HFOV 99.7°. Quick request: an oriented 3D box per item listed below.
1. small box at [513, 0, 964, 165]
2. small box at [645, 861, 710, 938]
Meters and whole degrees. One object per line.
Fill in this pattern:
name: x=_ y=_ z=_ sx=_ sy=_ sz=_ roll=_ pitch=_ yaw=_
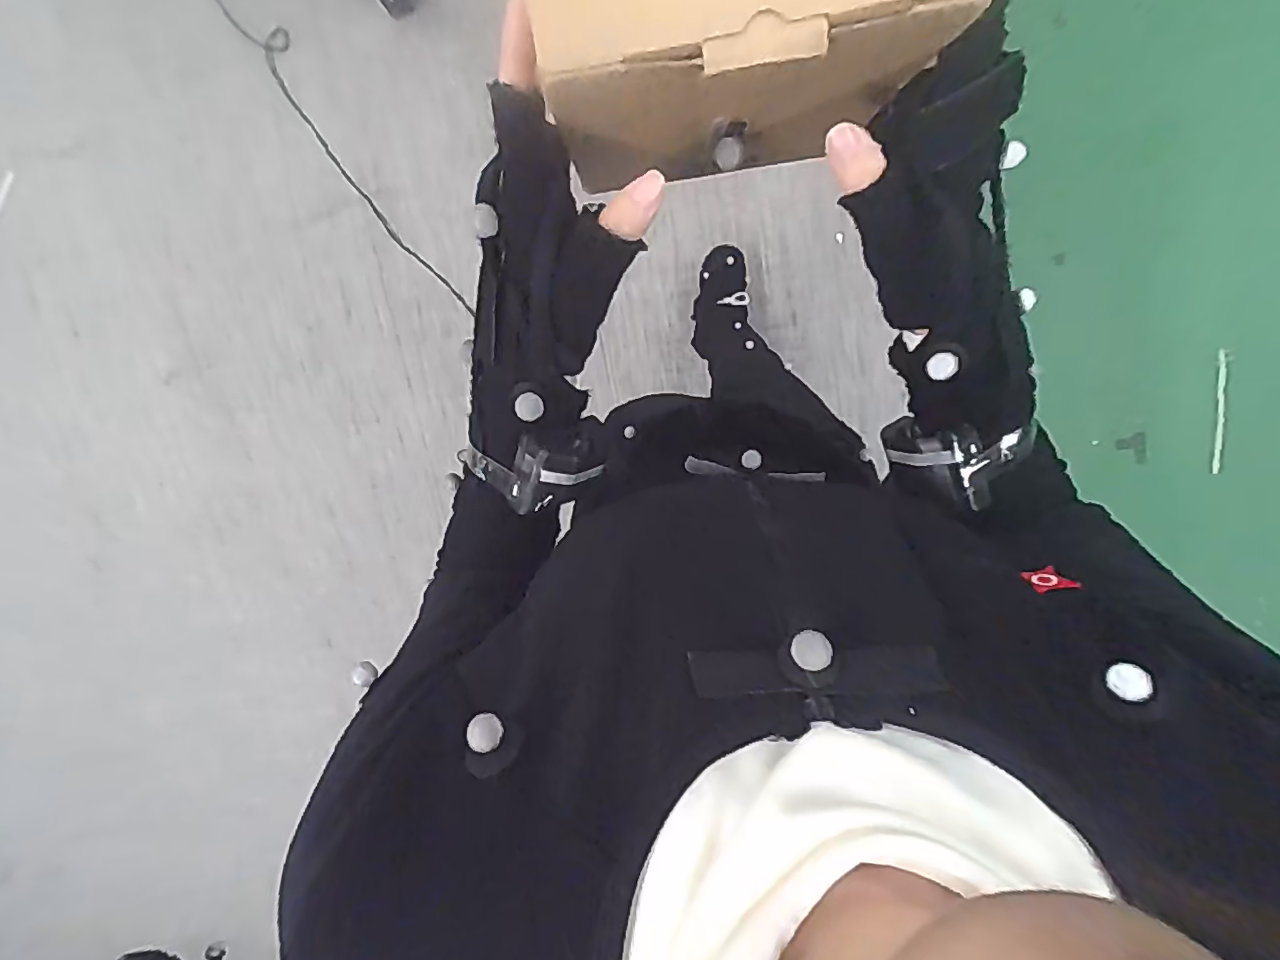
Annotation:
small box: x=0.029 y=-0.264 z=0.249 sx=0.168 sy=0.176 sz=0.179 roll=-7 pitch=106 yaw=3
small box: x=0.107 y=1.244 z=1.567 sx=0.168 sy=0.176 sz=0.179 roll=-9 pitch=103 yaw=4
